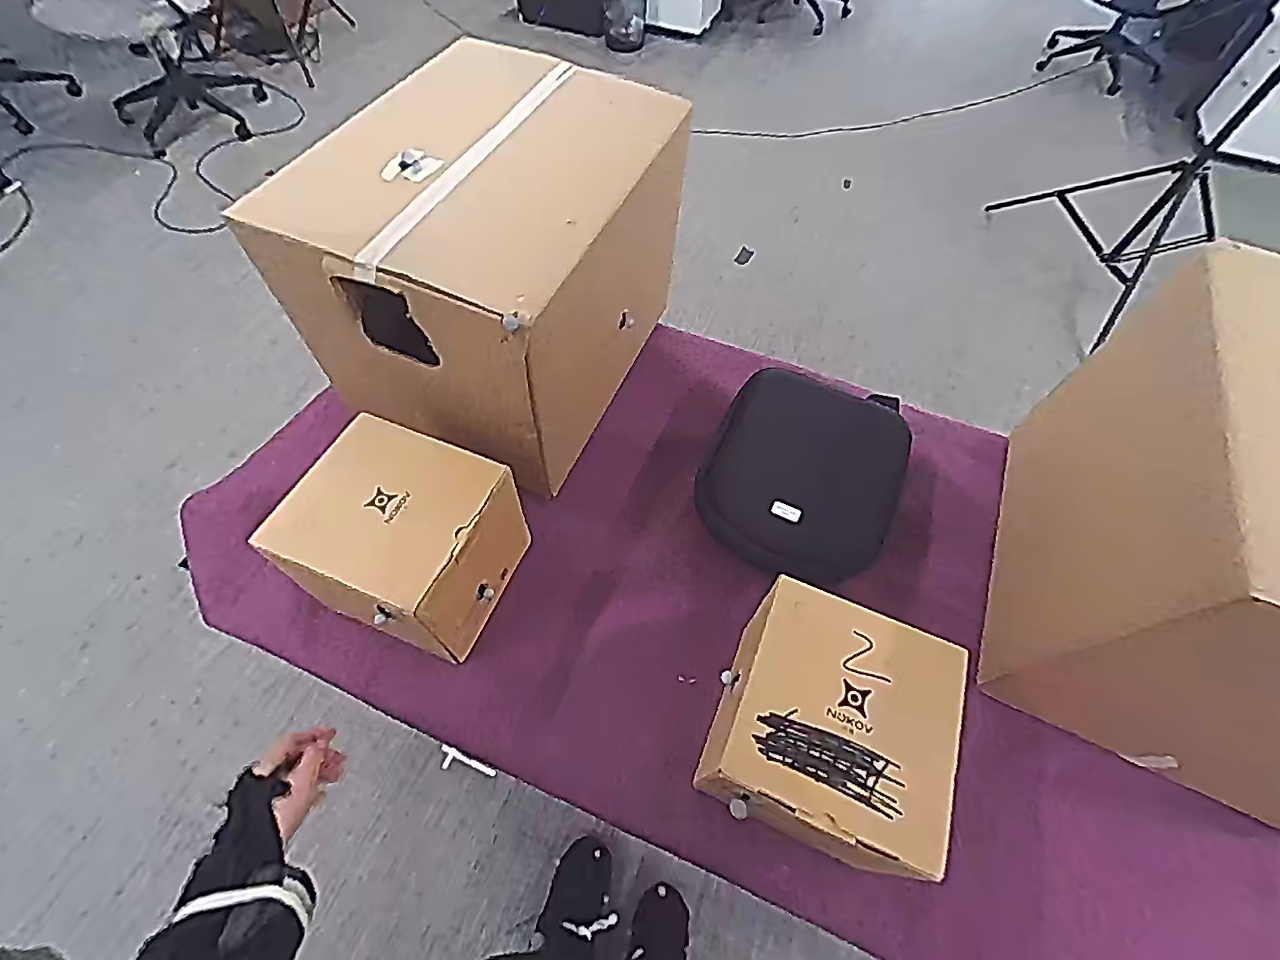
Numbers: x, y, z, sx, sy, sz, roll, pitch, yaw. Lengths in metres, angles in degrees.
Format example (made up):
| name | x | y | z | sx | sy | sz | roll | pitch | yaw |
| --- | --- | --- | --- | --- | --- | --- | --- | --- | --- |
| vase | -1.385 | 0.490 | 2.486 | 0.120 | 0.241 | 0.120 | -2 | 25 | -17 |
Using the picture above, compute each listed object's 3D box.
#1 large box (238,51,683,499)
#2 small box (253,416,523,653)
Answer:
| name | x | y | z | sx | sy | sz | roll | pitch | yaw |
| --- | --- | --- | --- | --- | --- | --- | --- | --- | --- |
| large box | -0.167 | -0.254 | 0.695 | 0.320 | 0.320 | 0.408 | 21 | 62 | 8 |
| small box | -0.245 | 0.065 | 0.579 | 0.179 | 0.176 | 0.168 | 19 | 58 | 8 |
